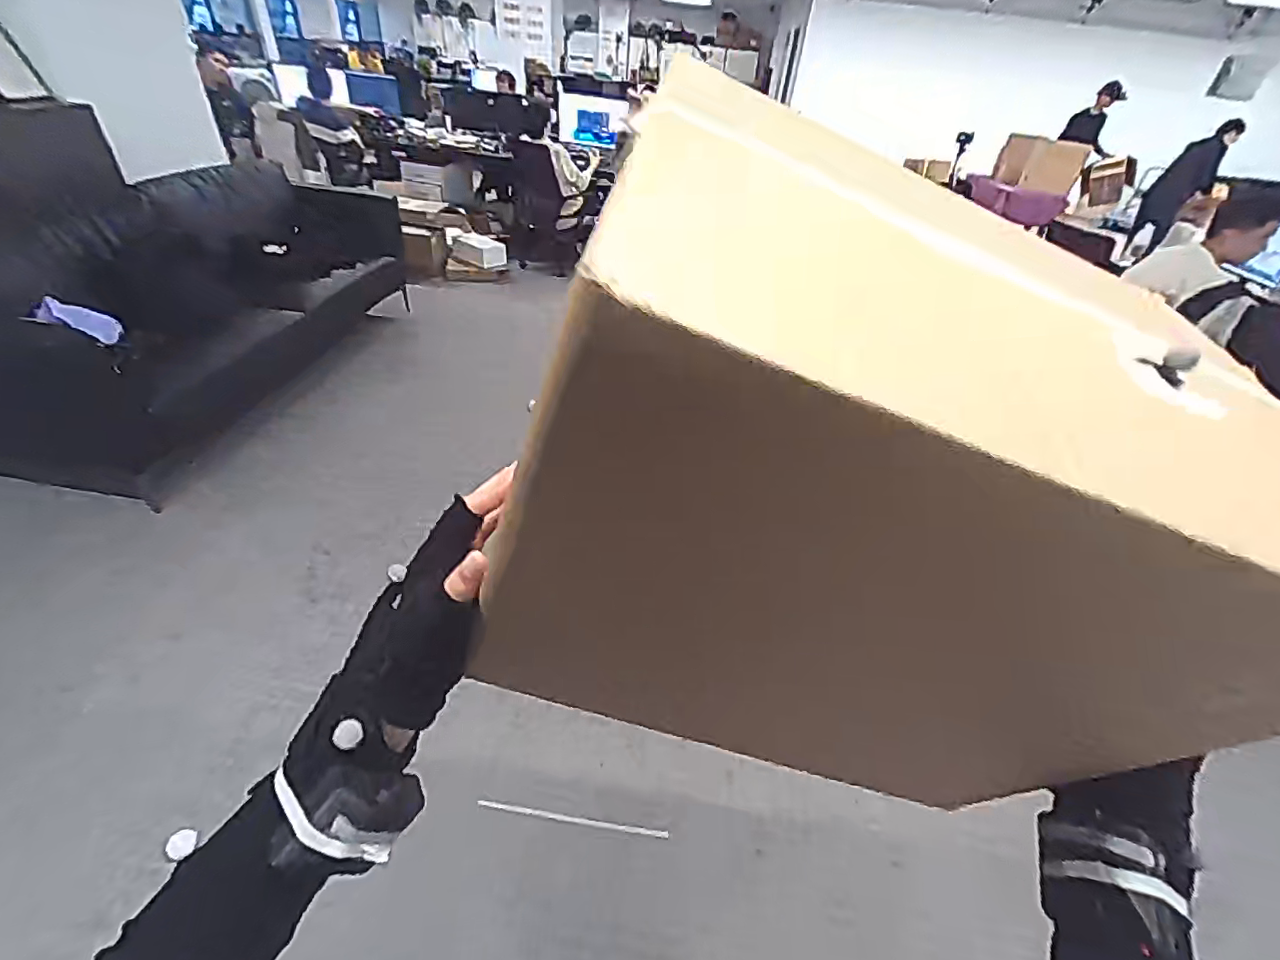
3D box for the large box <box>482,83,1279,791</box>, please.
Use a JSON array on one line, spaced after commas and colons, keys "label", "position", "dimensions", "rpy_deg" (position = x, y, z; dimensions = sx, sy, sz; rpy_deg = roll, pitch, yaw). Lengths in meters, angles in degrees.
[{"label": "large box", "position": [0.141, -0.005, 0.406], "dimensions": [0.408, 0.320, 0.320], "rpy_deg": [21, 47, -10]}]
